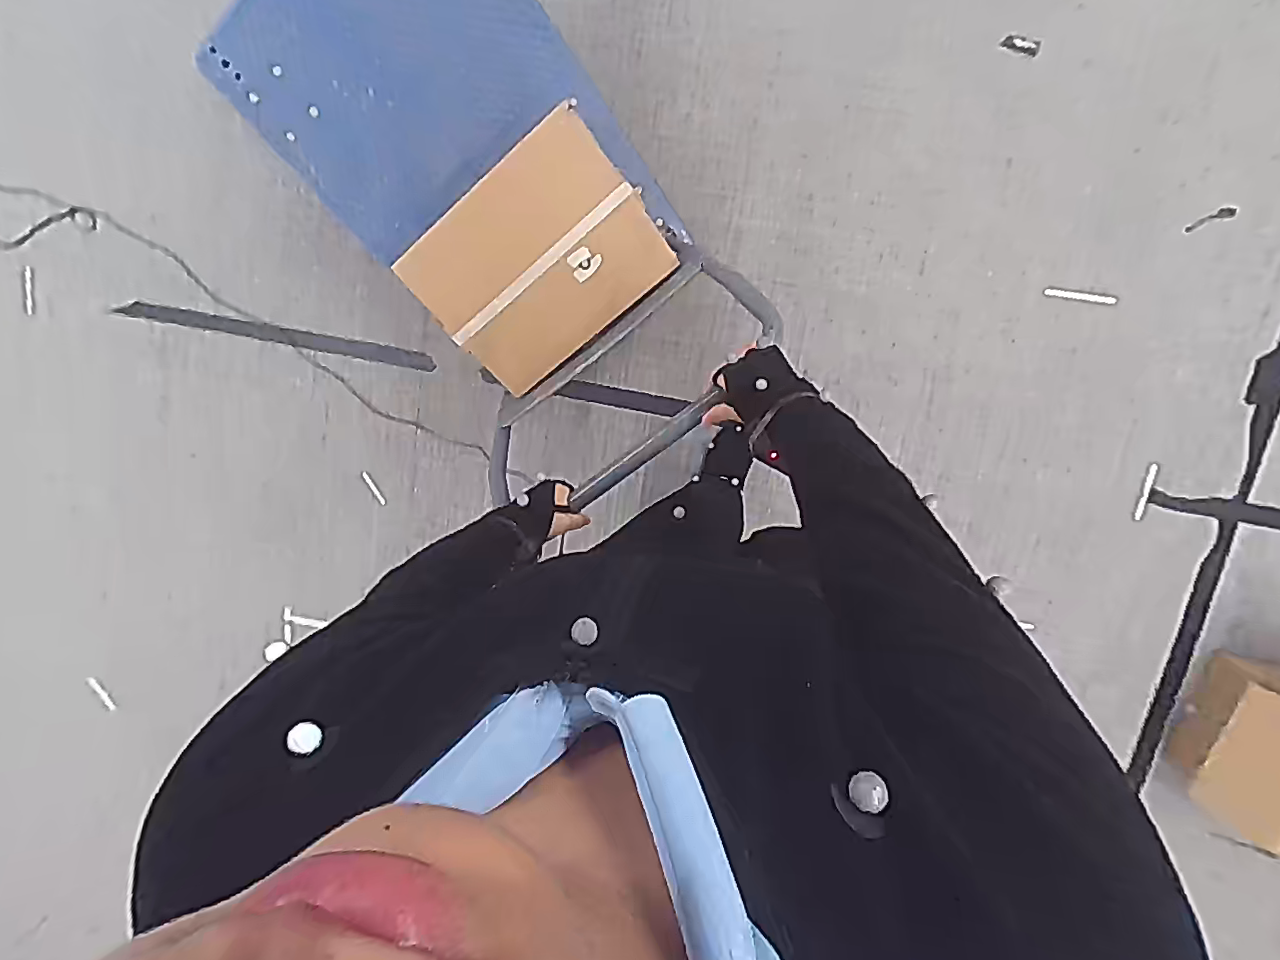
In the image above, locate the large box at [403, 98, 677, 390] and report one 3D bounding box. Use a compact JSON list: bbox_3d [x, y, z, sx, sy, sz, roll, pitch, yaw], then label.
[{"bbox_3d":[-0.192,-0.459,1.097,0.408,0.320,0.320,-37,117,12],"label":"large box"}]
